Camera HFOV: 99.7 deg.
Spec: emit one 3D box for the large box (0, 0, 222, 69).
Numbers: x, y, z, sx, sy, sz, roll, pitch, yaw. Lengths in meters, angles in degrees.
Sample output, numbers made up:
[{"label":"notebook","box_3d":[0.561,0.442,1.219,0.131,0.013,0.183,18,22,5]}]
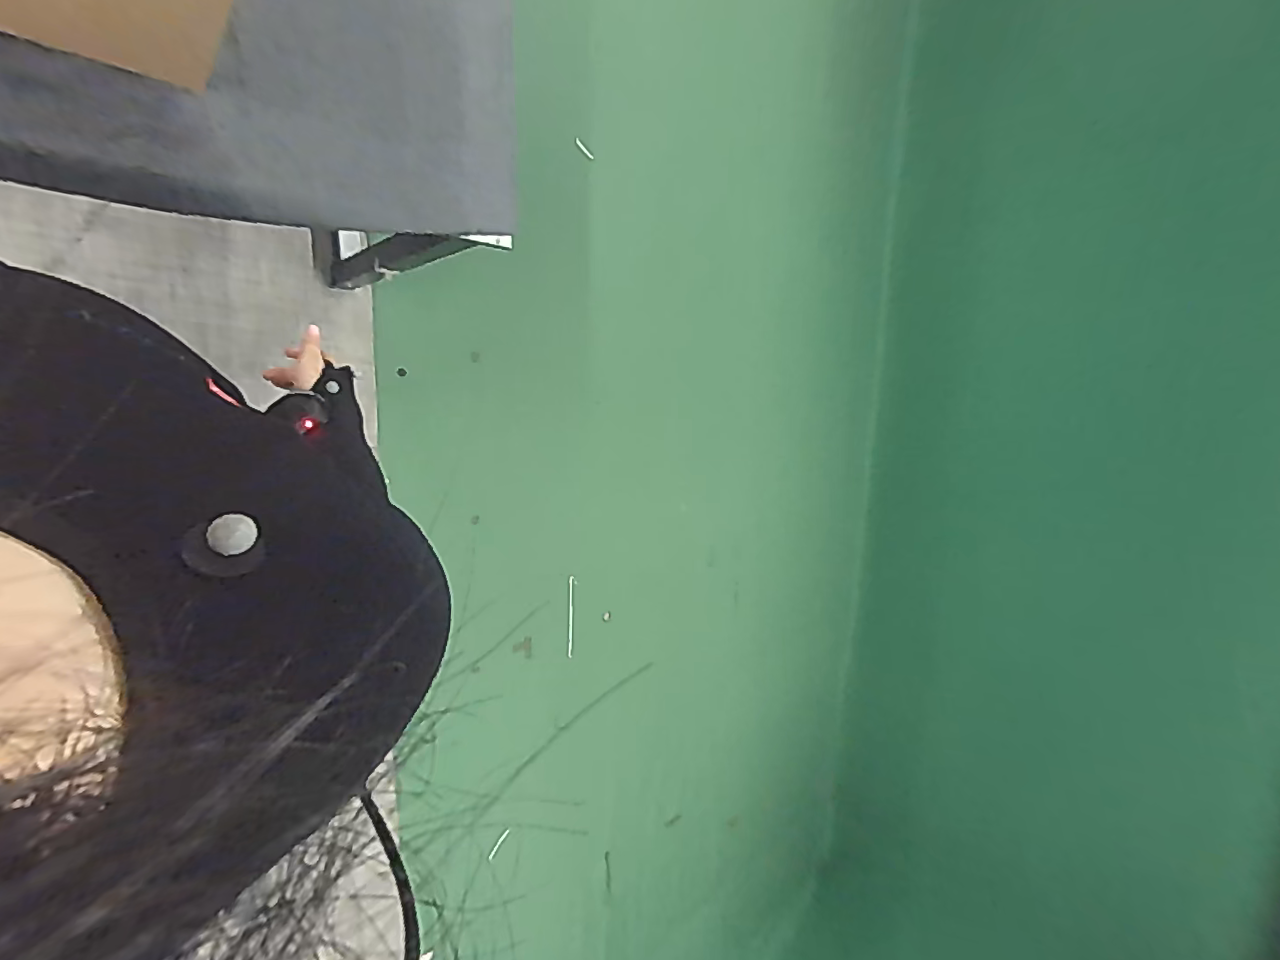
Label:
[{"label":"large box","box_3d":[-0.514,-0.541,0.316,0.408,0.320,0.320,-10,105,-44]}]
